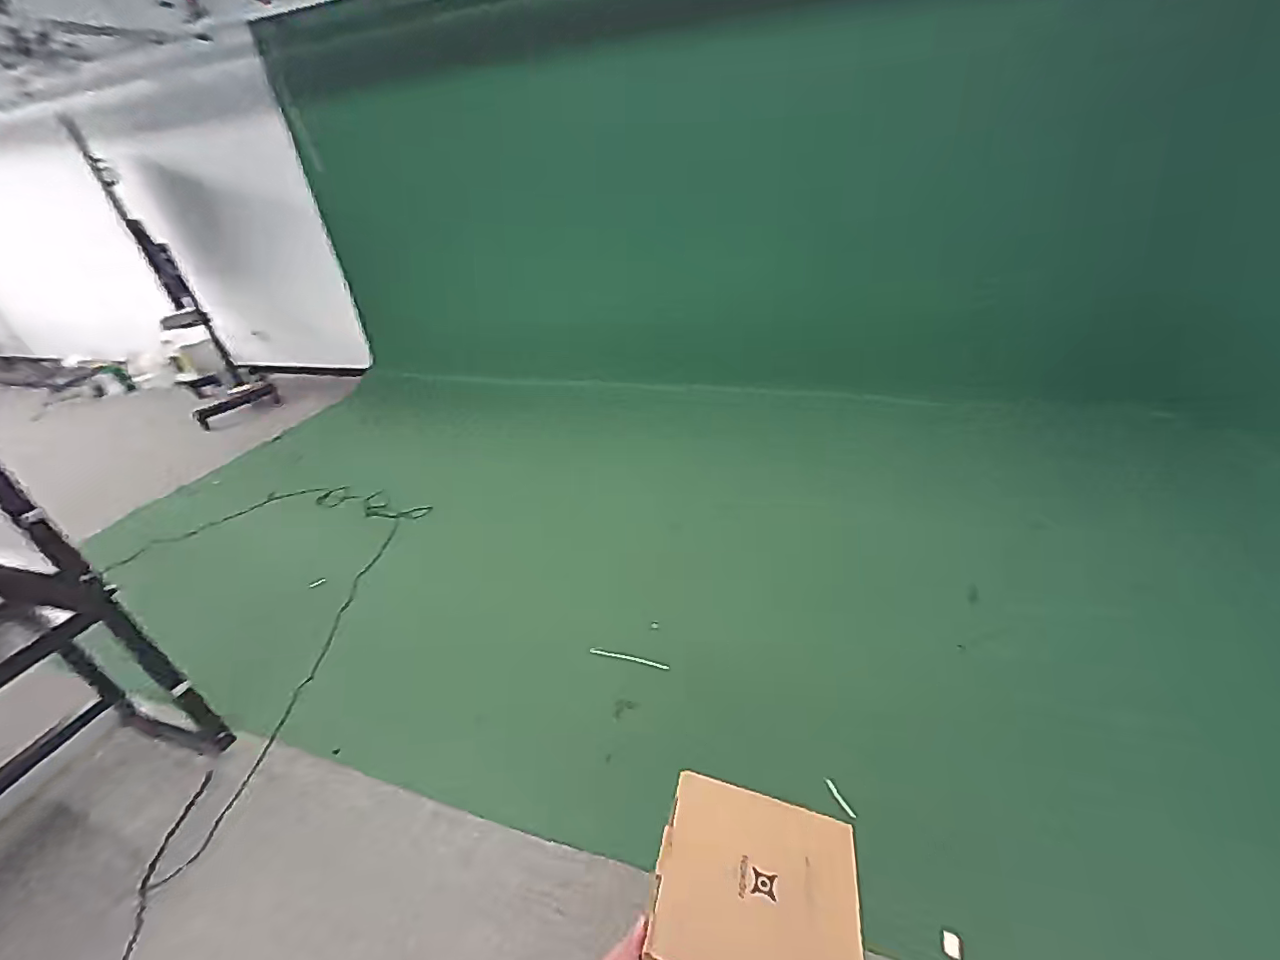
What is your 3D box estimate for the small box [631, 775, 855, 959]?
[{"bbox_3d":[0.088,0.426,0.507,0.179,0.176,0.168,13,27,10],"label":"small box"}]
